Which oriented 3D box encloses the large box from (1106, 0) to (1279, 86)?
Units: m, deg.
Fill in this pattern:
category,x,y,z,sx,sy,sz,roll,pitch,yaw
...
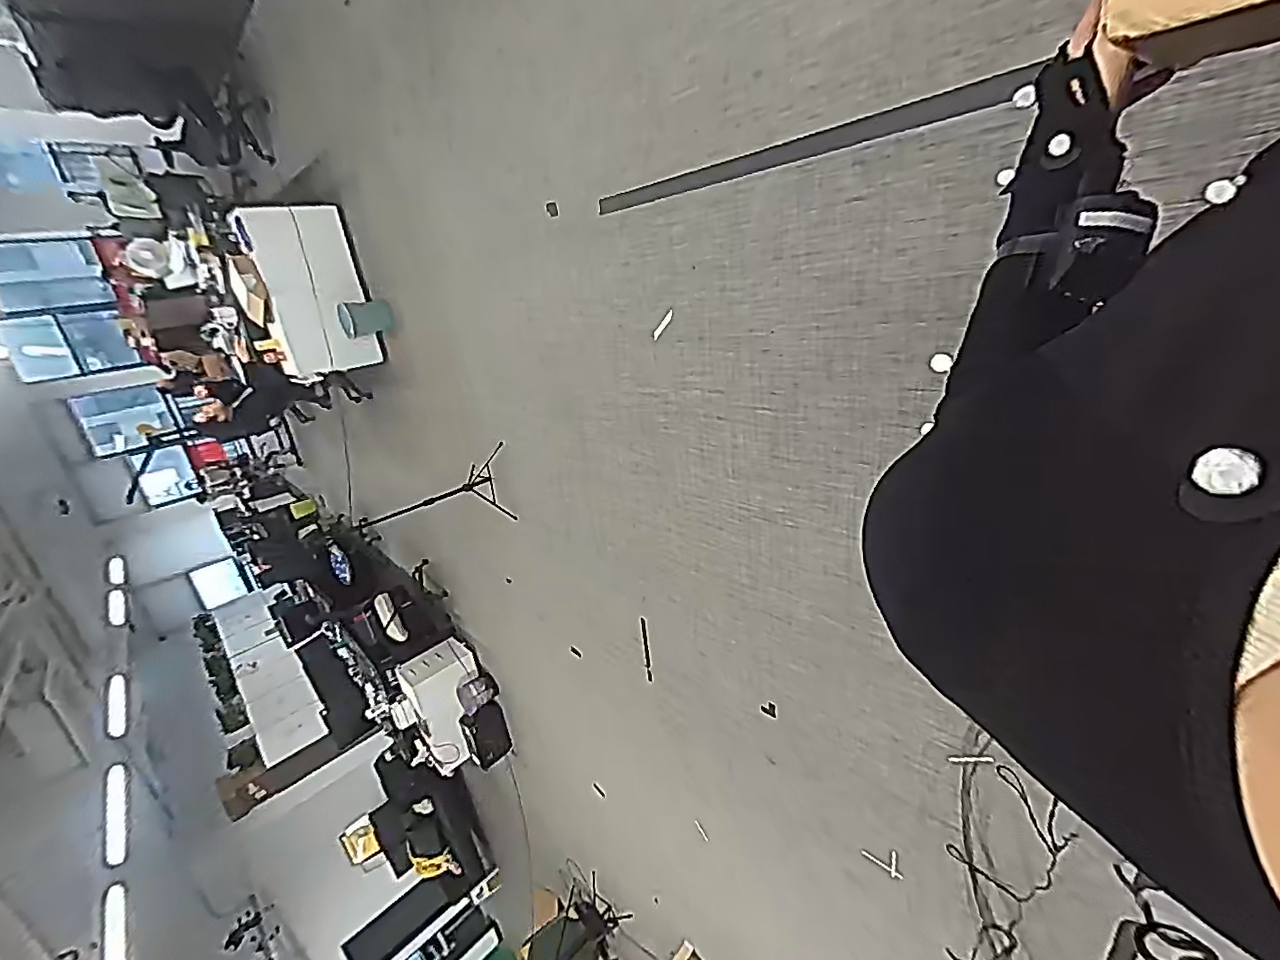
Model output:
category,x,y,z,sx,sy,sz,roll,pitch,yaw
large box,0.406,-0.349,0.133,0.408,0.320,0.320,11,124,41
